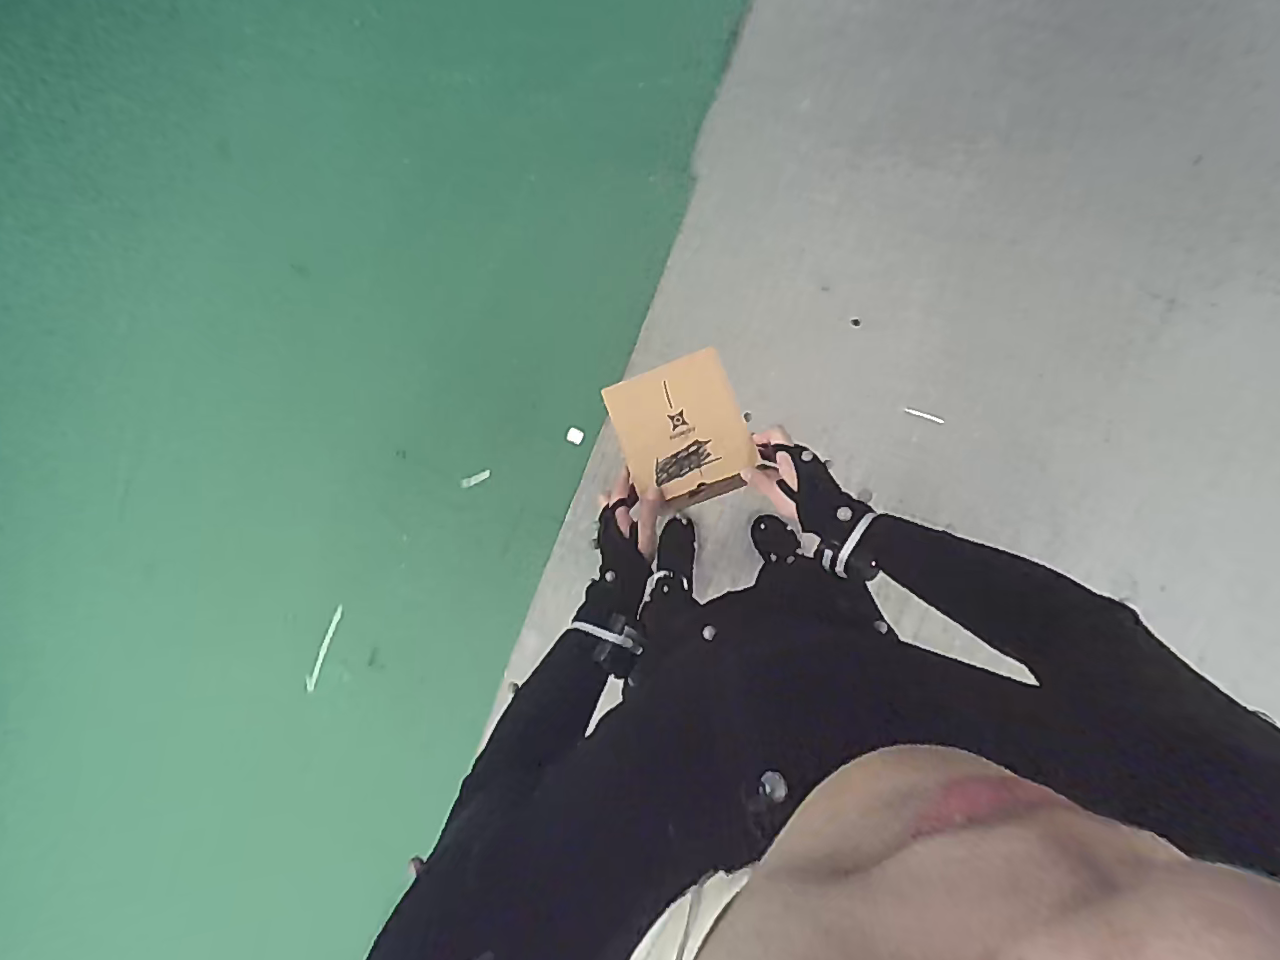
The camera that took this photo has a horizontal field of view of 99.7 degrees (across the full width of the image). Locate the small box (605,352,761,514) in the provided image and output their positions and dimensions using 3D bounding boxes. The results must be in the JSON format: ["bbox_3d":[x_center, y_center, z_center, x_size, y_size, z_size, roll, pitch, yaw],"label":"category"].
[{"bbox_3d":[0.068,-0.055,0.797,0.168,0.176,0.179,-22,79,5],"label":"small box"}]
